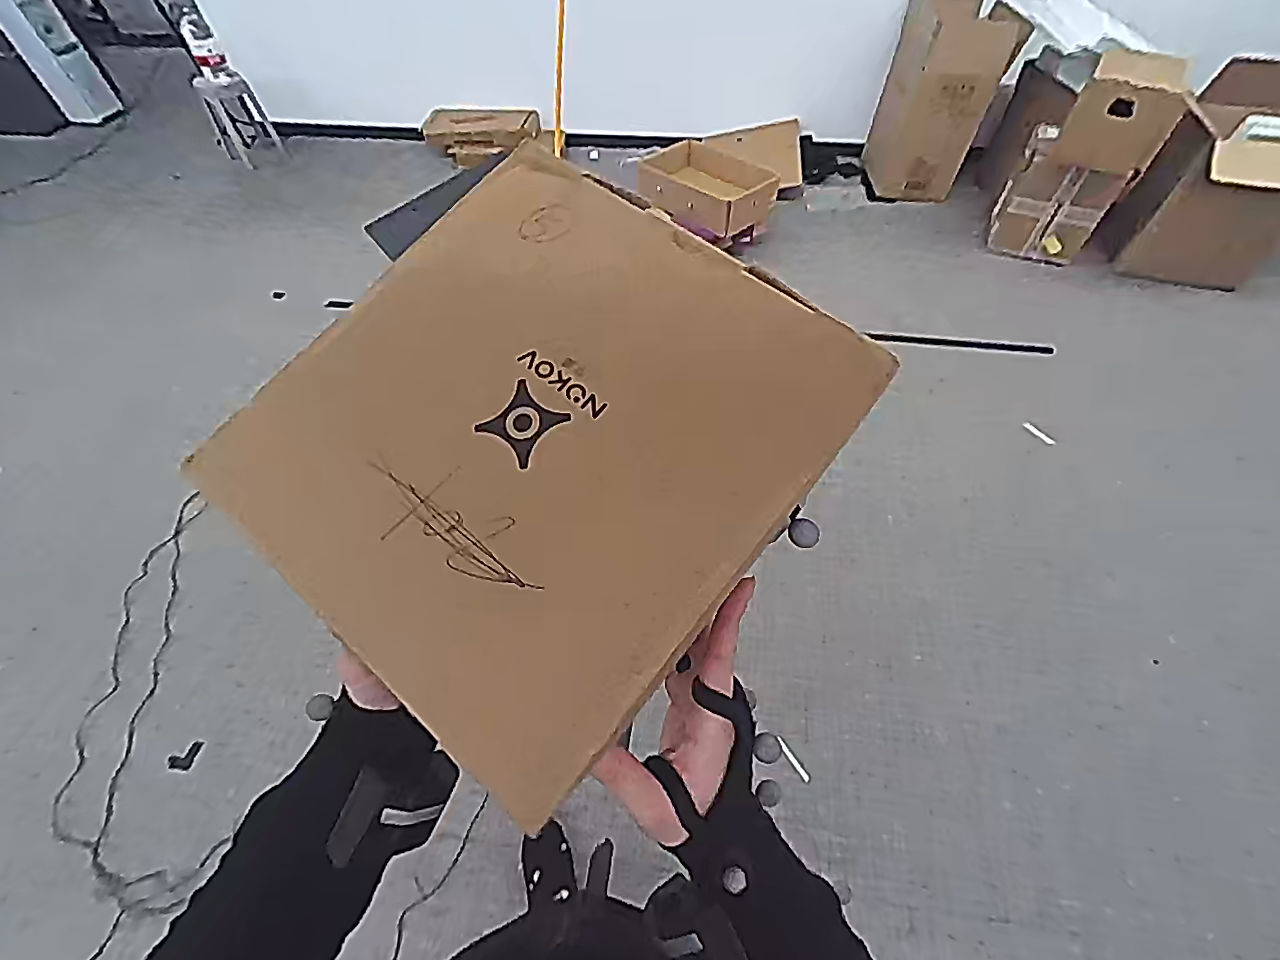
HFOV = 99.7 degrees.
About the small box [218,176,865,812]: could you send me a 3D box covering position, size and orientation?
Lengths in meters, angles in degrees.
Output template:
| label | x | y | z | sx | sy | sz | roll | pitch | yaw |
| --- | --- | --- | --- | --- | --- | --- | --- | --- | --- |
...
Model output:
| label | x | y | z | sx | sy | sz | roll | pitch | yaw |
| --- | --- | --- | --- | --- | --- | --- | --- | --- | --- |
| small box | -0.030 | 0.008 | 0.264 | 0.168 | 0.176 | 0.179 | 36 | 79 | 16 |
